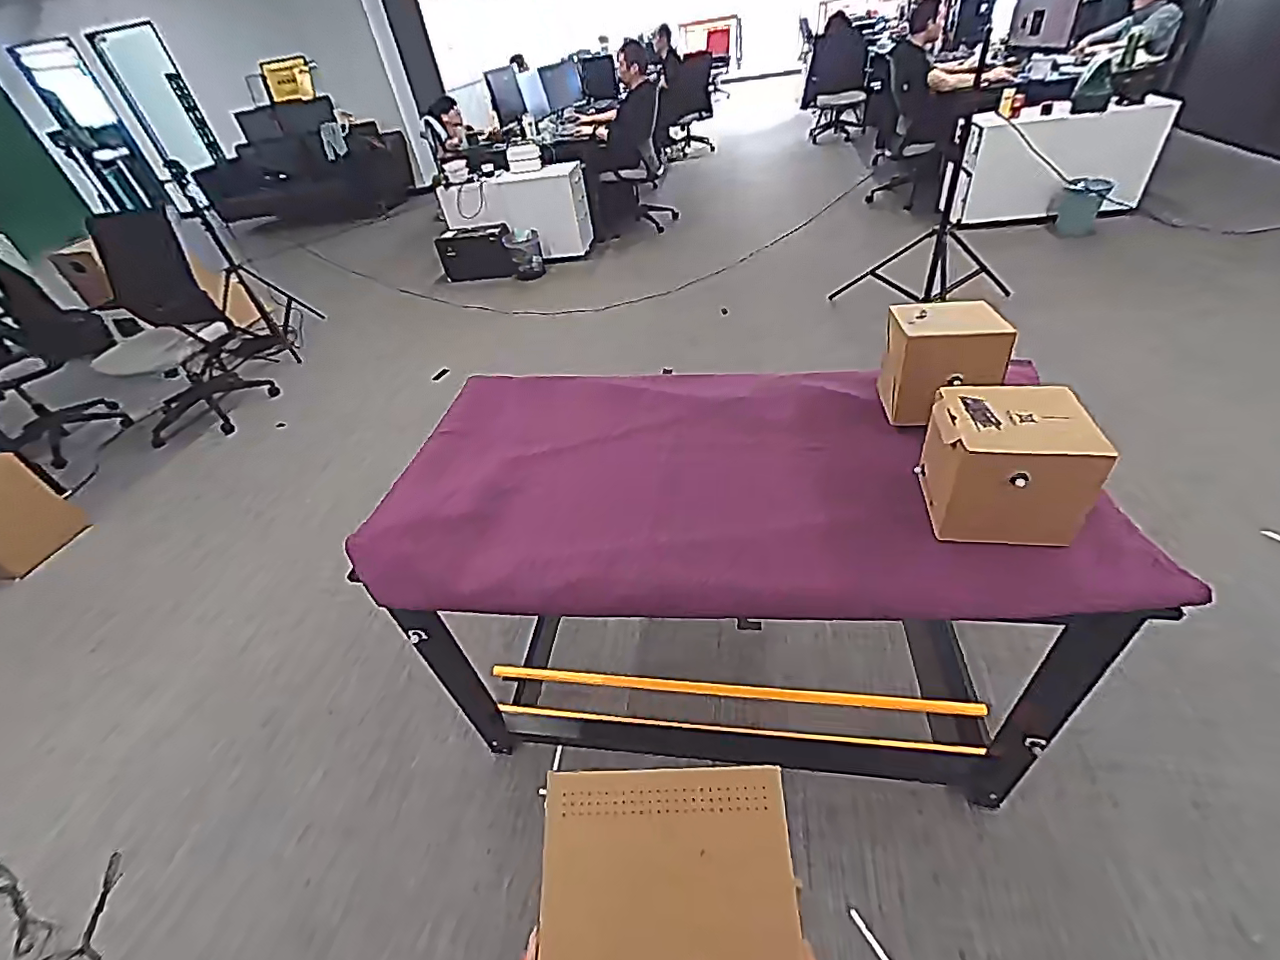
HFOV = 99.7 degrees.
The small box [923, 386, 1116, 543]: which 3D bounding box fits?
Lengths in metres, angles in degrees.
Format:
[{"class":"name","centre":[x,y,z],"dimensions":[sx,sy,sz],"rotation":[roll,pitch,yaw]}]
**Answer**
[{"class":"small box","centre":[0.532,-0.023,0.795],"dimensions":[0.179,0.176,0.168],"rotation":[2,40,13]}]
